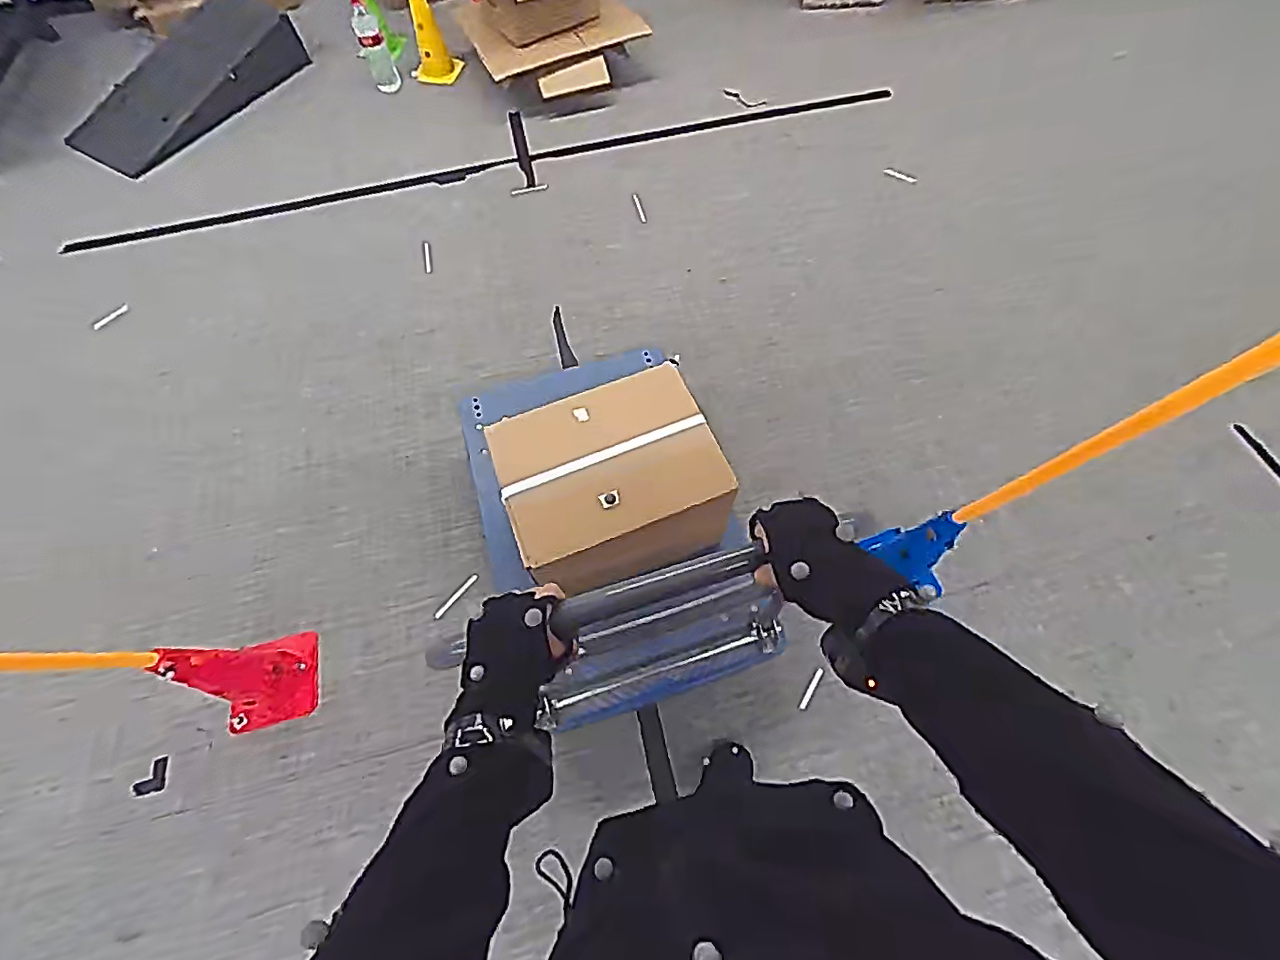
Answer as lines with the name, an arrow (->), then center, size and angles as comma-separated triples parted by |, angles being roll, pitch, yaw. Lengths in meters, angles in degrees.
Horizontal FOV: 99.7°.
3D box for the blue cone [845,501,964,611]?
blue cone -> 0.639, 0.153, 1.240 | 0.193, 0.380, 0.192 | -17, 63, -7
